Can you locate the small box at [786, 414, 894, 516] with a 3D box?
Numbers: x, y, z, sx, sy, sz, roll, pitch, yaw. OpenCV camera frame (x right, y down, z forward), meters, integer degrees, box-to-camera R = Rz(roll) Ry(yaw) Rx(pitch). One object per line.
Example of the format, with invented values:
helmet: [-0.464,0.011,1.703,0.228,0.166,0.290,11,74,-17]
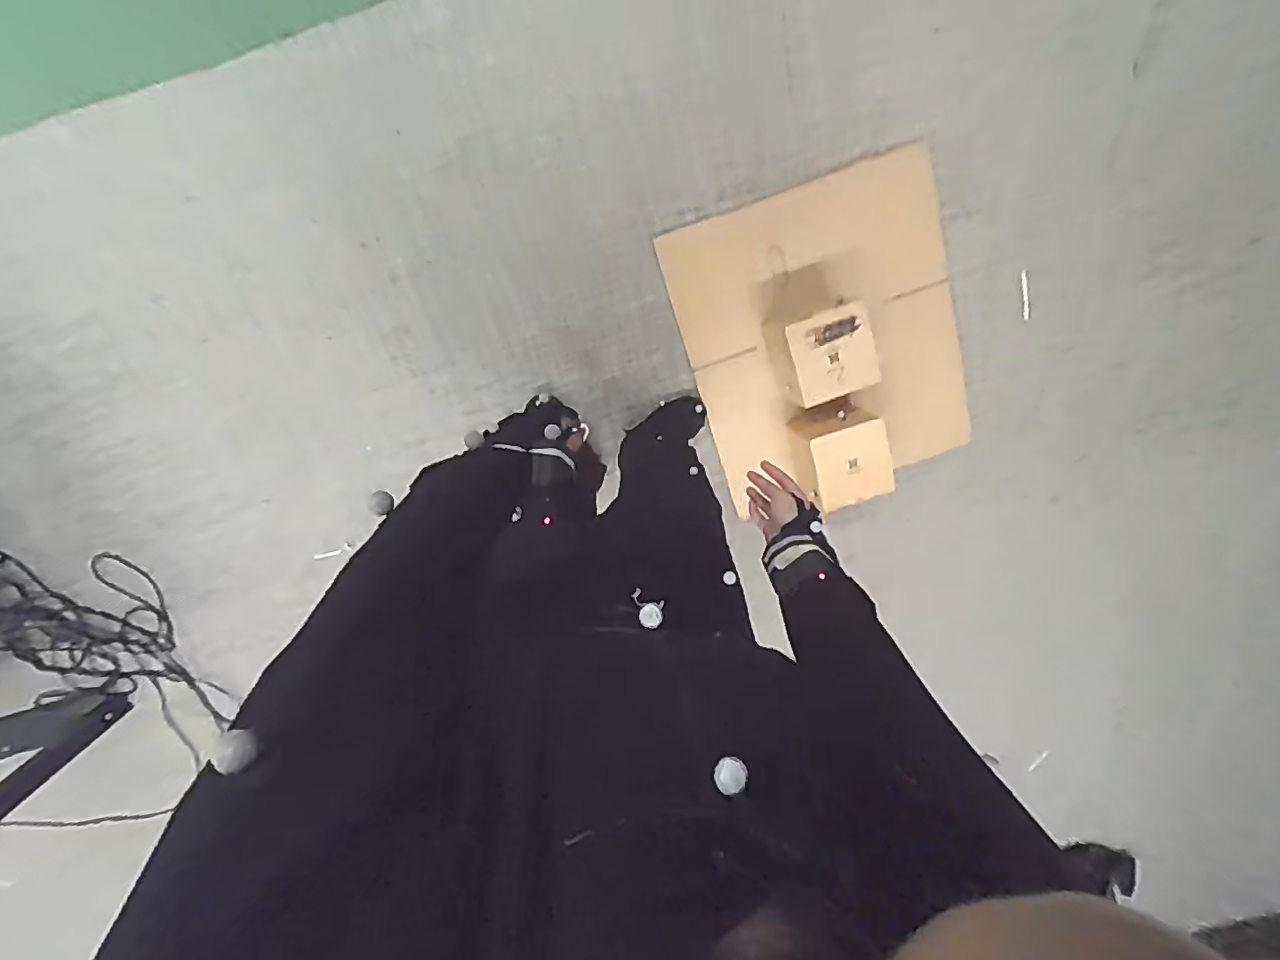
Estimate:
small box: [0.448,-0.044,1.235,0.168,0.176,0.179,-17,107,2]
